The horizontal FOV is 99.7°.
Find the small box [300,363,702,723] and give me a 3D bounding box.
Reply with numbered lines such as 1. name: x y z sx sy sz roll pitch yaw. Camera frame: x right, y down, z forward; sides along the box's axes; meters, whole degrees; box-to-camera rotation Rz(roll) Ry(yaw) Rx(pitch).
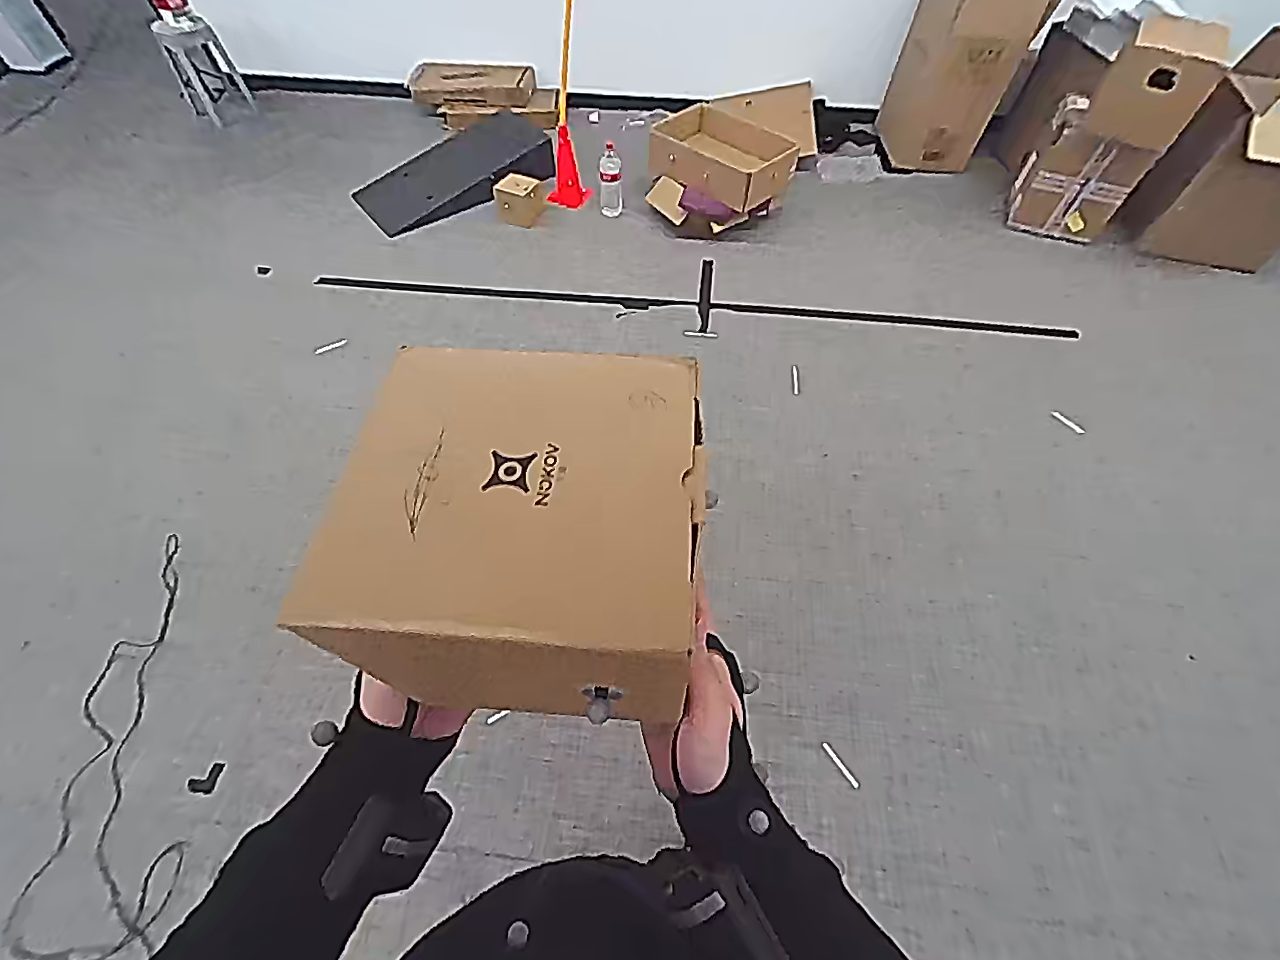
1. small box: -0.055 0.048 0.341 0.179 0.176 0.168 2 56 4
